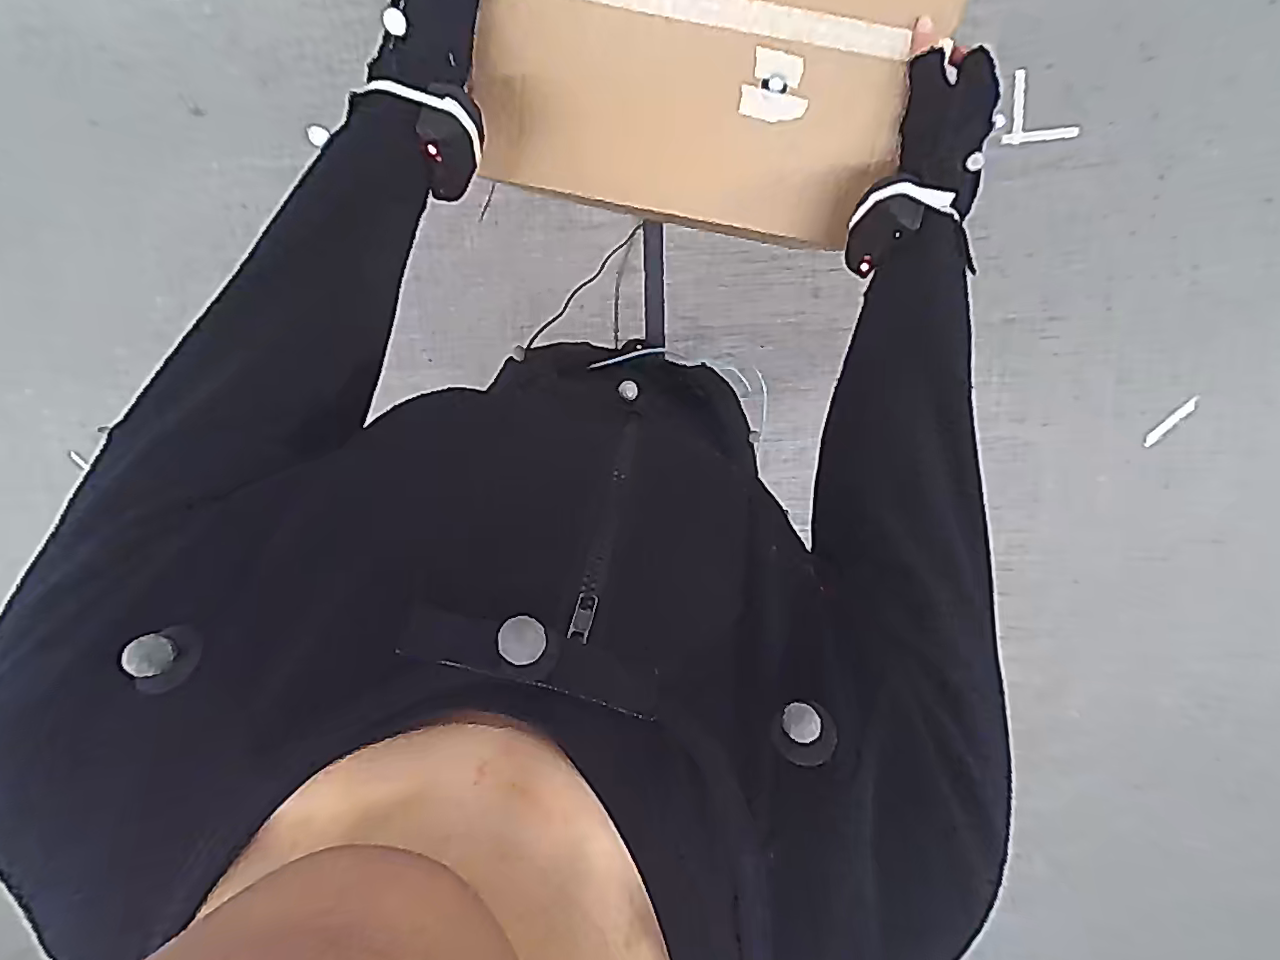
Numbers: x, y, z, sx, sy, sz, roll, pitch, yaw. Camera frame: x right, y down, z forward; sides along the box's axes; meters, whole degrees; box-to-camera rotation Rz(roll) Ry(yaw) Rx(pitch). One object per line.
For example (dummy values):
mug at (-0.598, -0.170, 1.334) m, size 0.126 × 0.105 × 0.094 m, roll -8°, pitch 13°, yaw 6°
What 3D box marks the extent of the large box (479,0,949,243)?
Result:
large box at (0.064, -0.462, 0.605) m, size 0.408 × 0.320 × 0.320 m, roll 10°, pitch 115°, yaw -2°
